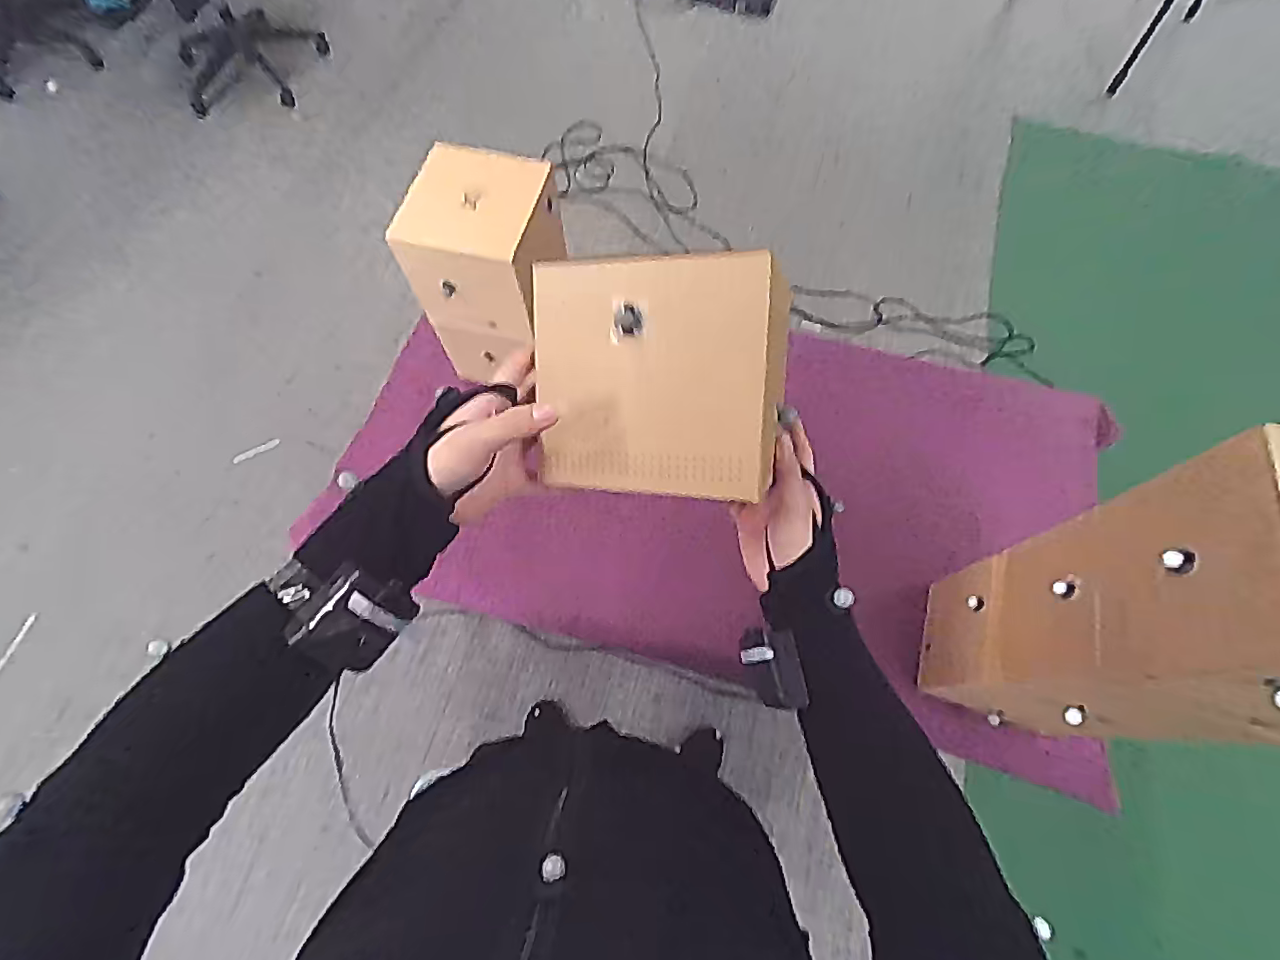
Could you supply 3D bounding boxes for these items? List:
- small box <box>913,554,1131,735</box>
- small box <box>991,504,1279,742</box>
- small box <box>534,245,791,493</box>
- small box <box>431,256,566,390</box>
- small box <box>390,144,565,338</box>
[{"bbox_3d":[0.500,0.221,0.720,0.179,0.176,0.168,19,67,7],"label":"small box"},{"bbox_3d":[0.504,0.154,0.571,0.168,0.176,0.179,18,68,8],"label":"small box"},{"bbox_3d":[0.027,-0.087,0.461,0.179,0.168,0.176,5,102,20],"label":"small box"},{"bbox_3d":[-0.216,-0.271,0.915,0.179,0.176,0.168,12,68,5],"label":"small box"},{"bbox_3d":[-0.211,-0.327,0.763,0.168,0.176,0.179,12,67,4],"label":"small box"}]
